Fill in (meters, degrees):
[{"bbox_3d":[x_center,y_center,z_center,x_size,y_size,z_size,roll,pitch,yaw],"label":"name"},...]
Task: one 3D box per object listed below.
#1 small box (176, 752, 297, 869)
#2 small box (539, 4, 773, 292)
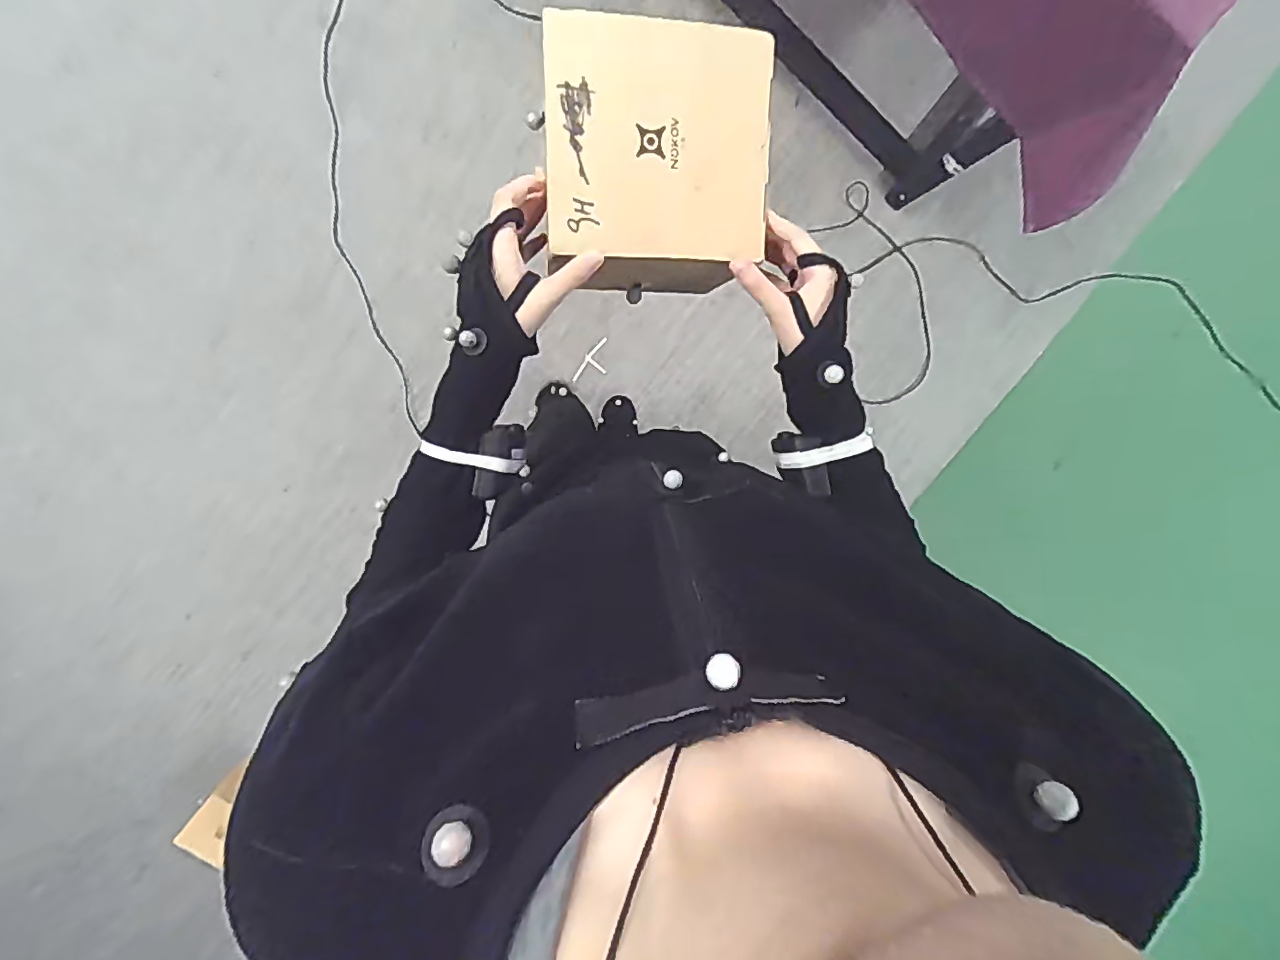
[{"bbox_3d":[-1.092,0.899,1.484,0.168,0.176,0.179,40,93,-10],"label":"small box"},{"bbox_3d":[0.000,-0.270,0.489,0.179,0.176,0.168,-1,100,-11],"label":"small box"}]
